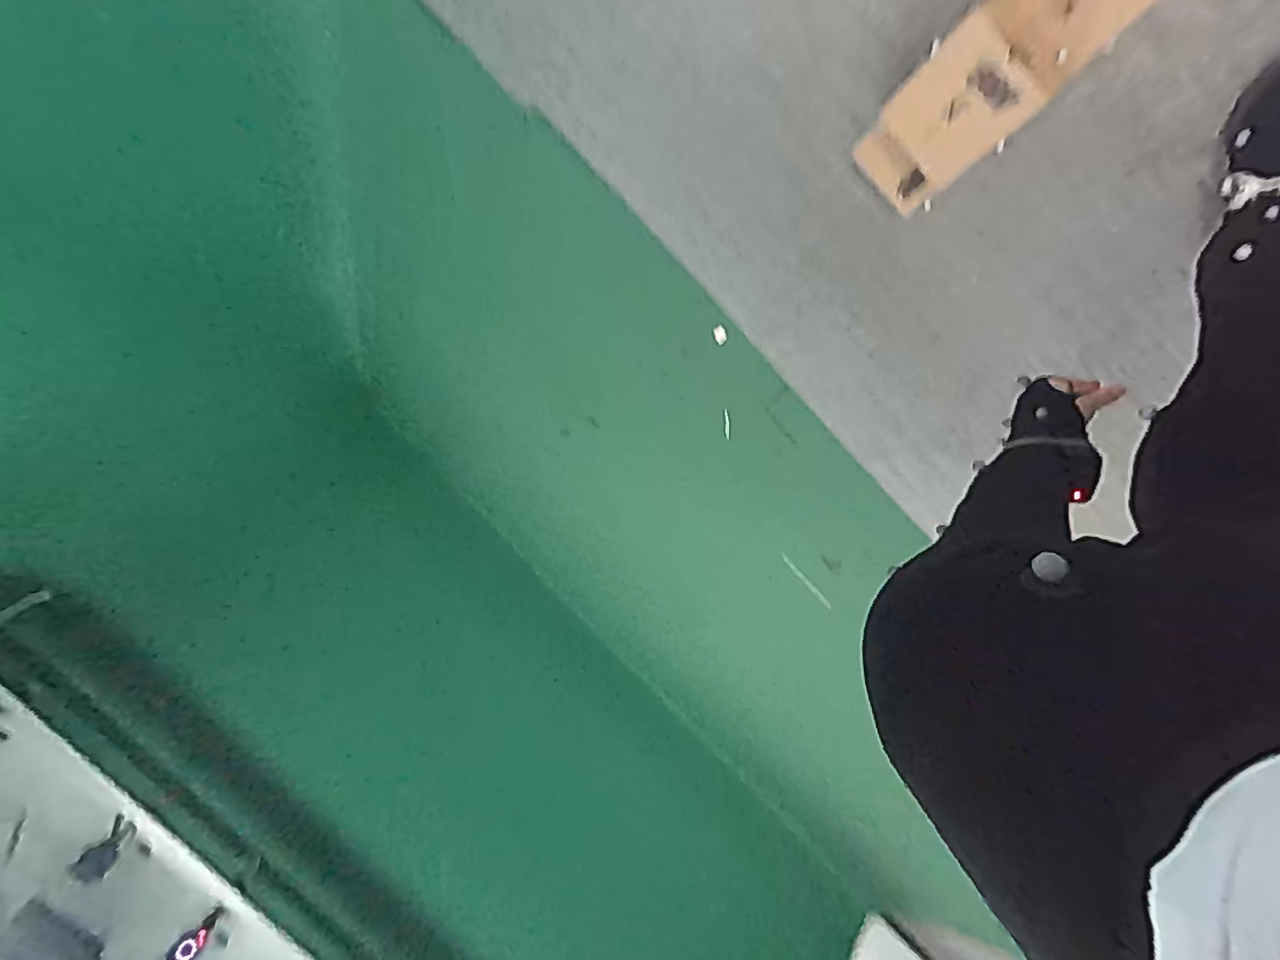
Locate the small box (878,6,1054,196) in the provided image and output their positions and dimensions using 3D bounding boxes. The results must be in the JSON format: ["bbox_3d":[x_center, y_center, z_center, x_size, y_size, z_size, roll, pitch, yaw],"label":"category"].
[{"bbox_3d":[0.529,-0.610,0.872,0.168,0.176,0.179,48,147,-5],"label":"small box"}]
